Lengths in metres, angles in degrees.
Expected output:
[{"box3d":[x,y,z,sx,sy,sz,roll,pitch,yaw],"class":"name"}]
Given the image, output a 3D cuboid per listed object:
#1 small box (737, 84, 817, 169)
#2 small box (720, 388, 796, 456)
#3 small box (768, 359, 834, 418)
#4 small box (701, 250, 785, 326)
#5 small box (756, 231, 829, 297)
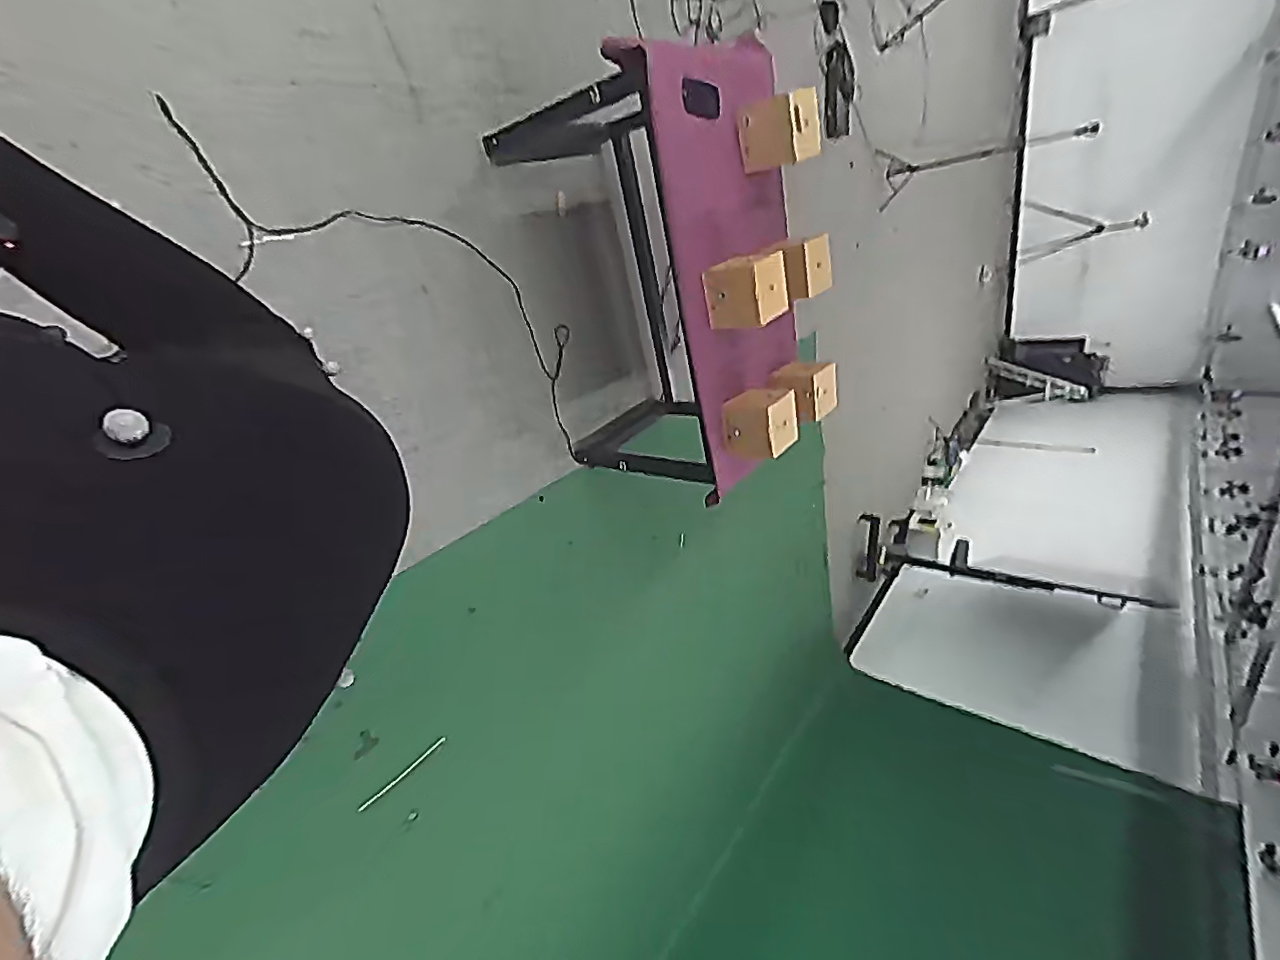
[{"box3d":[0.393,-1.024,1.573,0.179,0.176,0.168,-41,127,-37],"class":"small box"},{"box3d":[0.375,-0.190,1.711,0.179,0.176,0.168,-34,120,-41],"class":"small box"},{"box3d":[0.572,-0.327,1.918,0.179,0.176,0.168,-34,121,-41],"class":"small box"},{"box3d":[0.298,-0.552,1.557,0.179,0.176,0.168,-39,125,-38],"class":"small box"},{"box3d":[0.495,-0.698,1.758,0.179,0.176,0.168,-37,123,-38],"class":"small box"}]
